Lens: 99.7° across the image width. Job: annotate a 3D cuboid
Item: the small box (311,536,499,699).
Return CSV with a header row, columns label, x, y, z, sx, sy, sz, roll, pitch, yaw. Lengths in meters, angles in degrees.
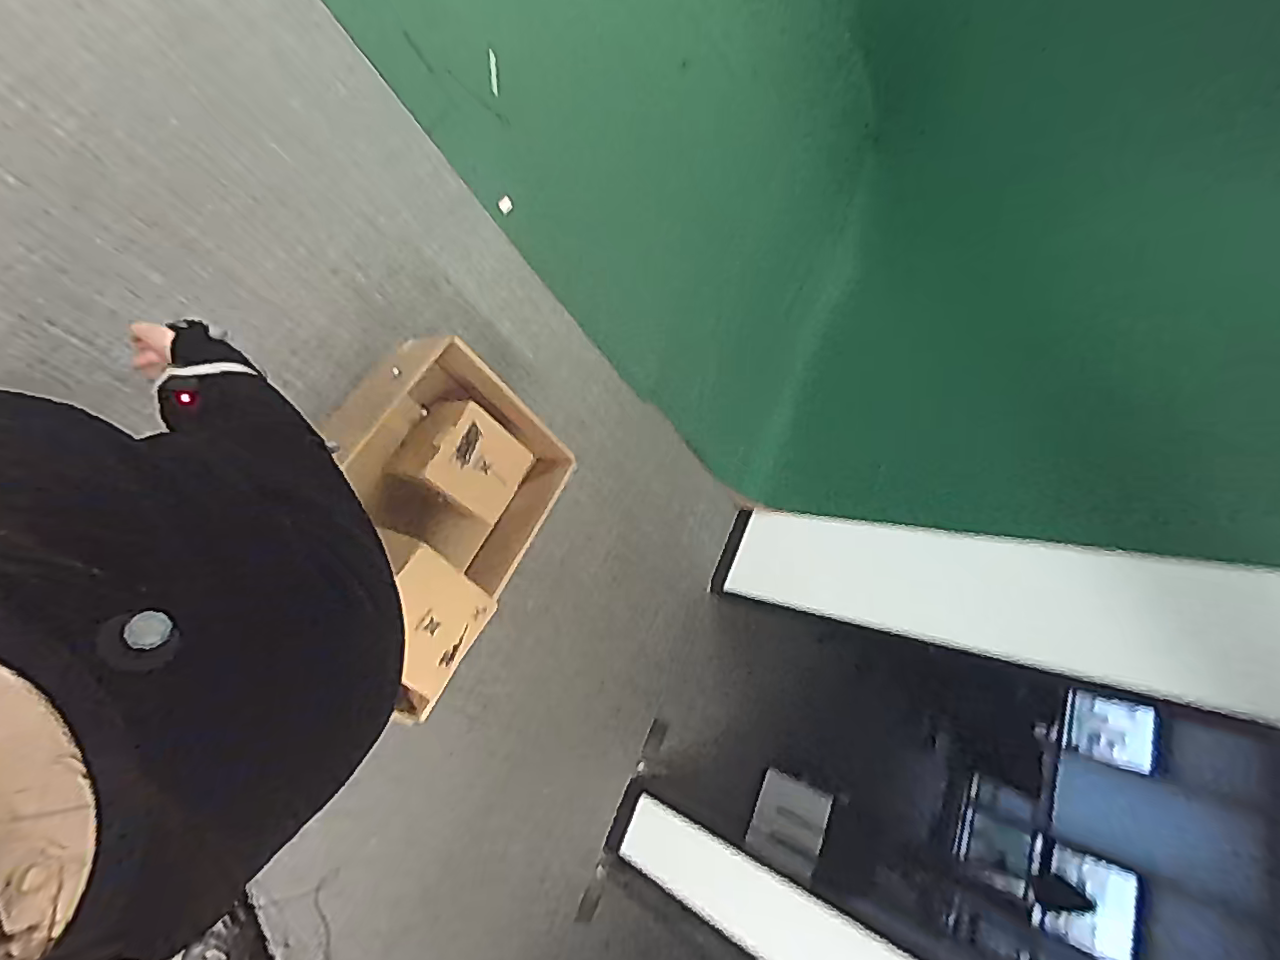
label,x,y,z,sx,sy,sz,roll,pitch,yaw
small box,-0.363,0.201,0.834,0.168,0.176,0.179,-56,129,-26
